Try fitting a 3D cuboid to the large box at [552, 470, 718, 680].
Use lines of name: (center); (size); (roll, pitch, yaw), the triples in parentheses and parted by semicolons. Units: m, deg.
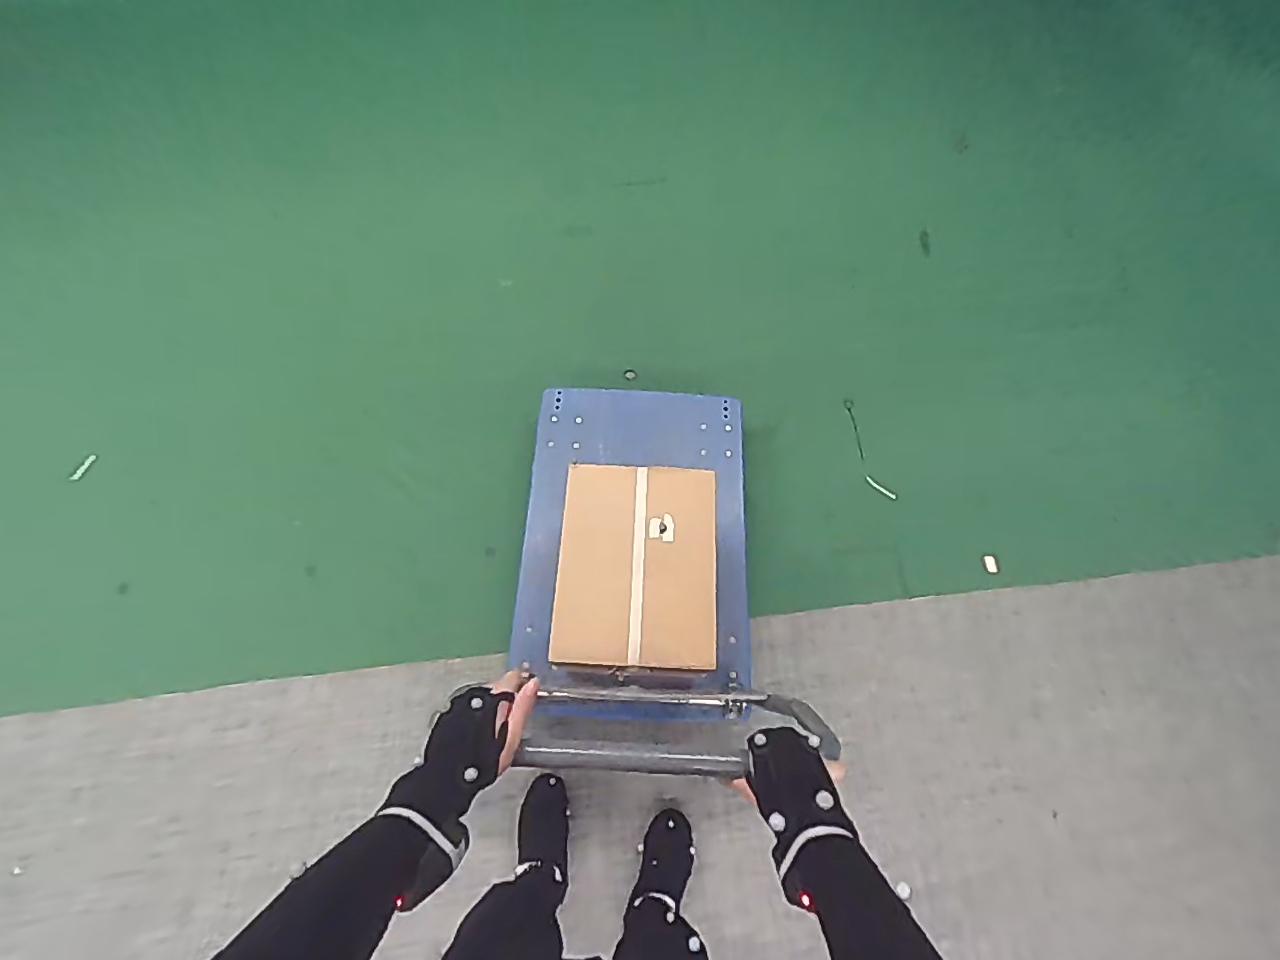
large box: (-0.006, 0.225, 1.206); (0.320, 0.320, 0.408); (3, 66, 0)
